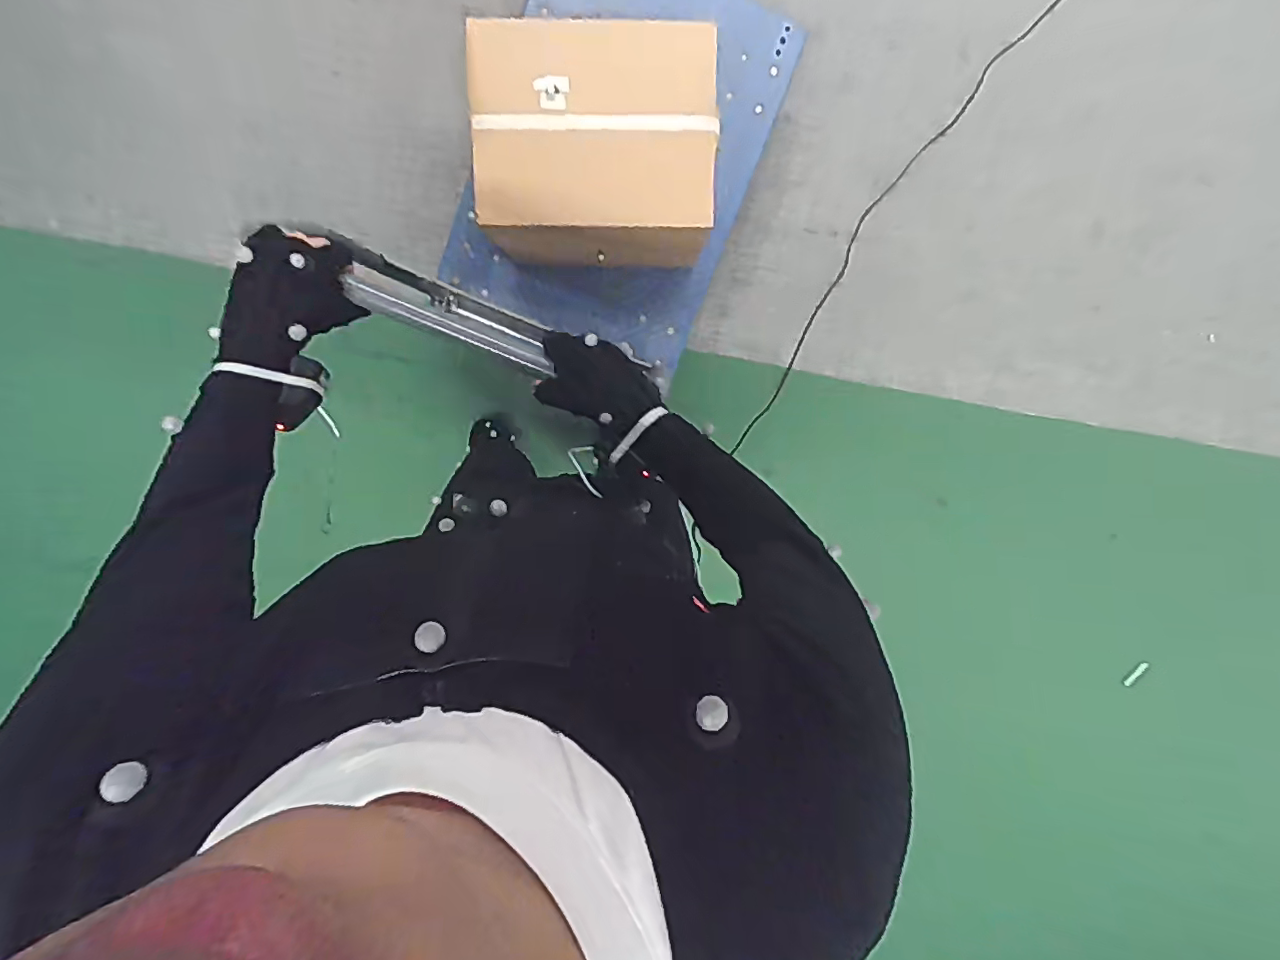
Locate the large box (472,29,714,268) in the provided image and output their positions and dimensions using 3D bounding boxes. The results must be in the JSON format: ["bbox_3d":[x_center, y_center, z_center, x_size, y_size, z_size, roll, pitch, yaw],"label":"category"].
[{"bbox_3d":[-0.072,-0.603,1.049,0.408,0.320,0.320,0,99,1],"label":"large box"}]
